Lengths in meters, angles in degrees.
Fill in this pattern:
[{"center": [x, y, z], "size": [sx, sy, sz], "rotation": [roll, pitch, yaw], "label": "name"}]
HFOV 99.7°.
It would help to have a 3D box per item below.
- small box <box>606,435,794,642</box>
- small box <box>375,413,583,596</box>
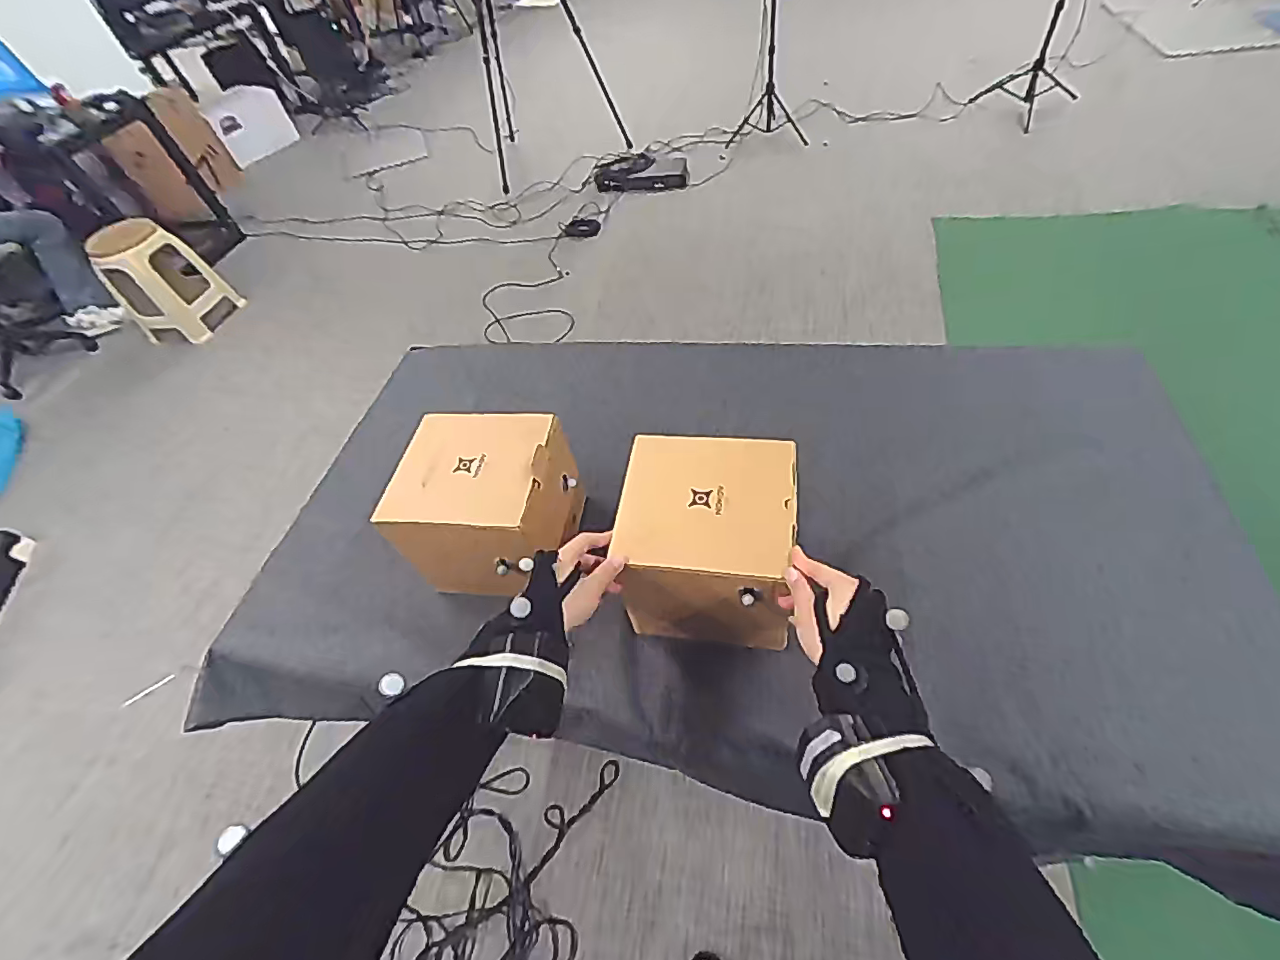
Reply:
[{"center": [0.076, 0.068, 0.606], "size": [0.179, 0.176, 0.168], "rotation": [3, 52, 12], "label": "small box"}, {"center": [-0.182, 0.034, 0.679], "size": [0.179, 0.176, 0.168], "rotation": [0, 51, 12], "label": "small box"}]
